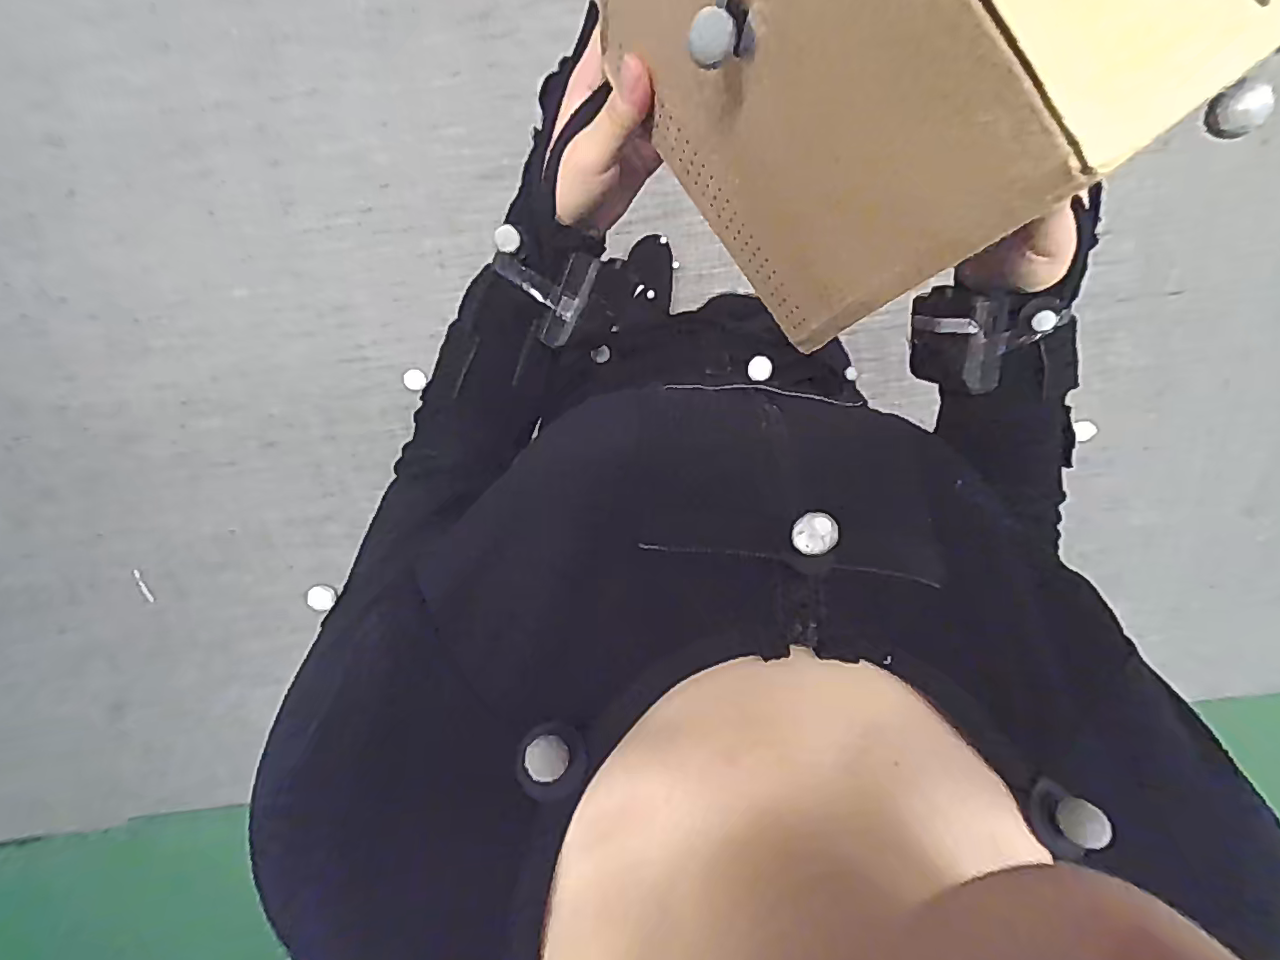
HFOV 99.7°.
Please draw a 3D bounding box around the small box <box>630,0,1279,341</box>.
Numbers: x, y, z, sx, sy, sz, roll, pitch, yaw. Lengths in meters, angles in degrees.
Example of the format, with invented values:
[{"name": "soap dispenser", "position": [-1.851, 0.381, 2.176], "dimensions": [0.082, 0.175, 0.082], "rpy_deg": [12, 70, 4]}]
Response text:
[{"name": "small box", "position": [0.107, -0.180, 0.199], "dimensions": [0.168, 0.176, 0.179], "rpy_deg": [-37, 92, -1]}]
